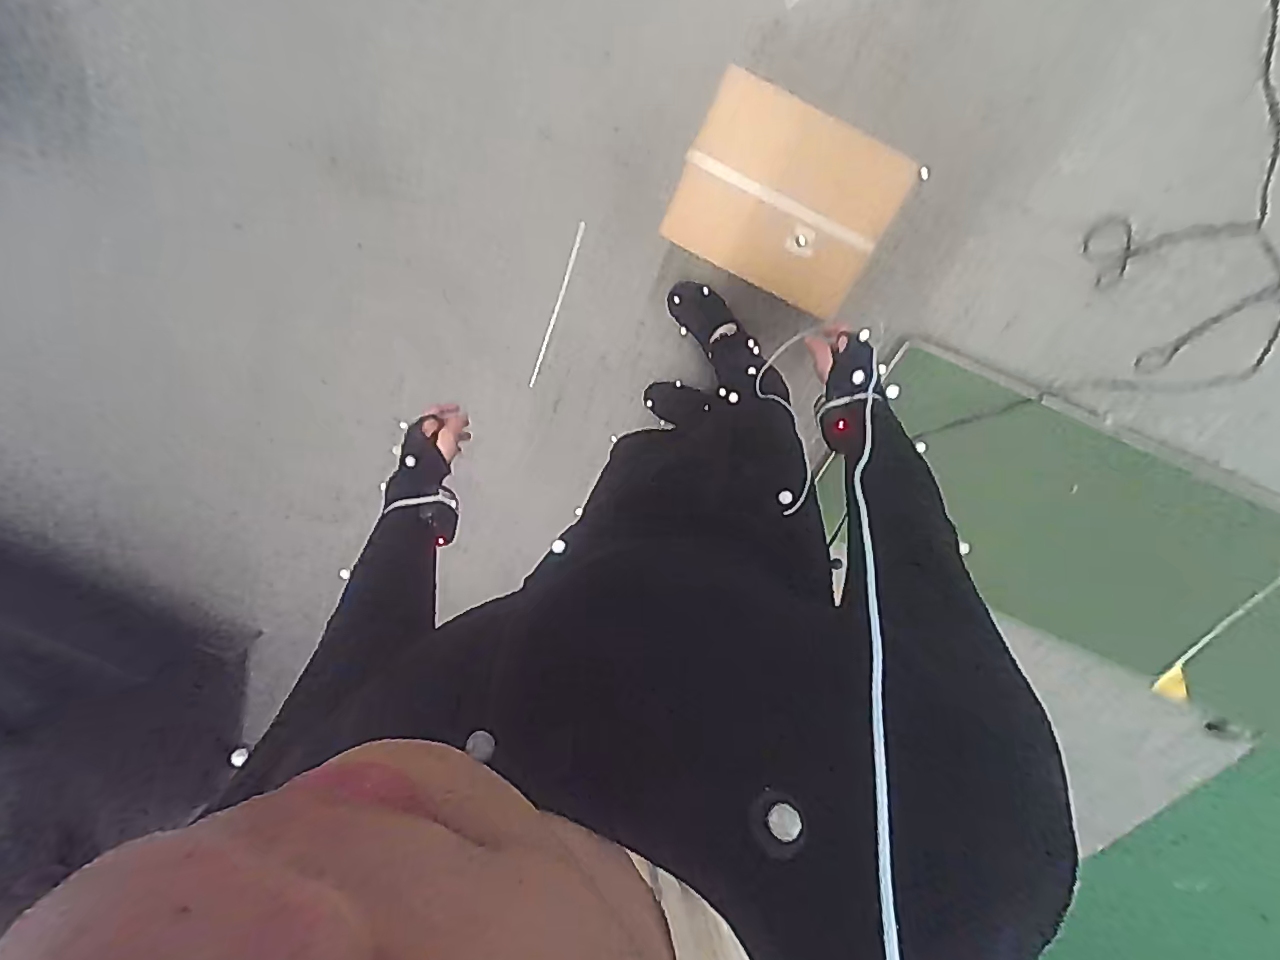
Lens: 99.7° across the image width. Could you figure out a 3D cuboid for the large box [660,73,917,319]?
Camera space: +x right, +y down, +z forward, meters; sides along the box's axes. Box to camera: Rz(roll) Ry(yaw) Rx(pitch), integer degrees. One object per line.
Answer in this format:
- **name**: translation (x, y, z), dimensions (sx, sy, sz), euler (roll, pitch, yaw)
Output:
- **large box**: translation (0.295, -0.599, 1.190), dimensions (0.408, 0.320, 0.320), euler (25, 116, -3)
